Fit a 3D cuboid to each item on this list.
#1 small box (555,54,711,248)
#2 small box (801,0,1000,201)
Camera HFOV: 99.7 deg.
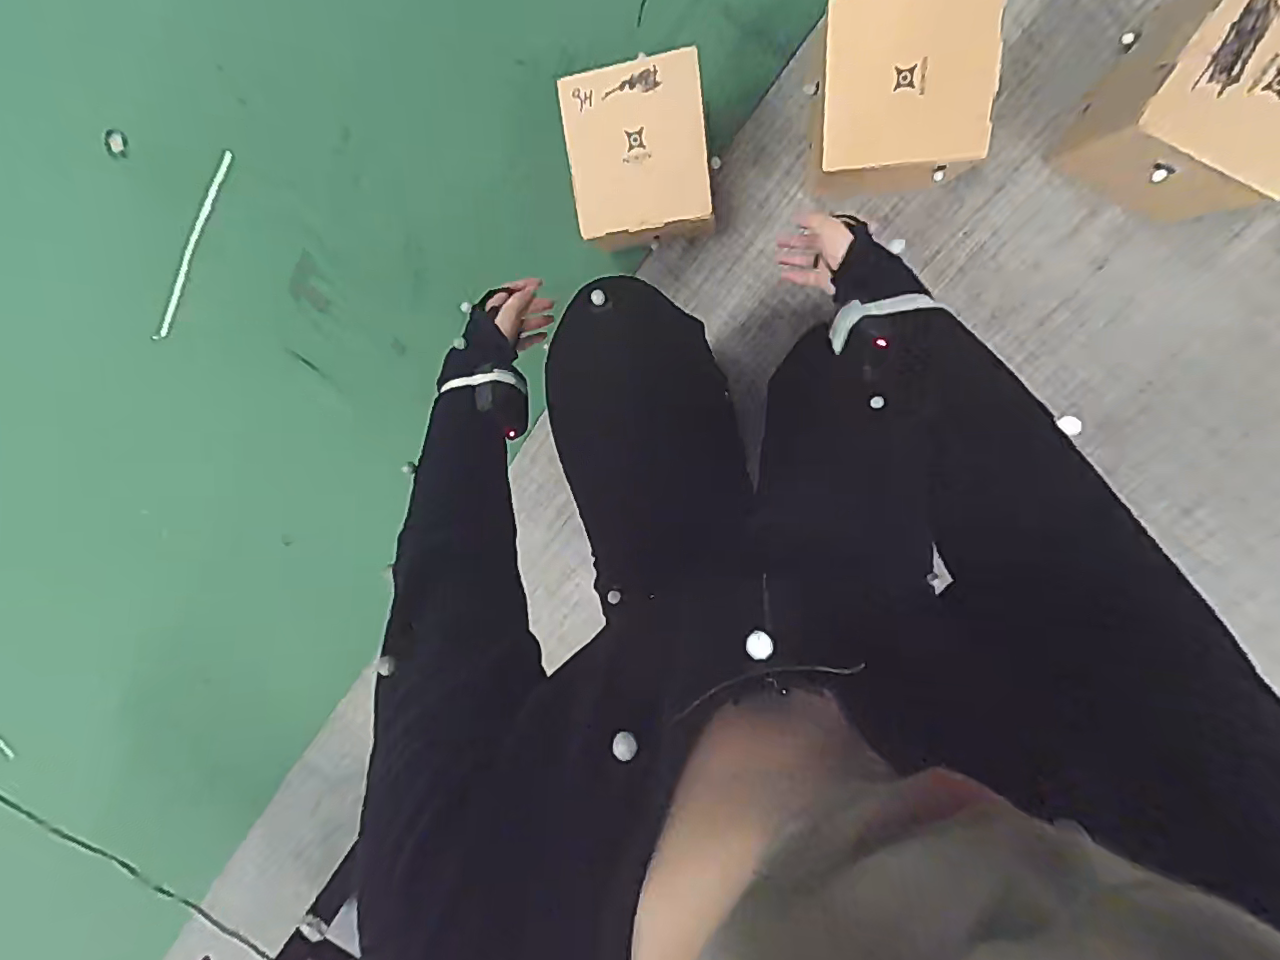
[{"bbox_3d":[0.003,-0.410,0.710,0.168,0.176,0.179,-5,108,11],"label":"small box"},{"bbox_3d":[0.294,-0.447,0.652,0.179,0.176,0.168,0,108,9],"label":"small box"}]
